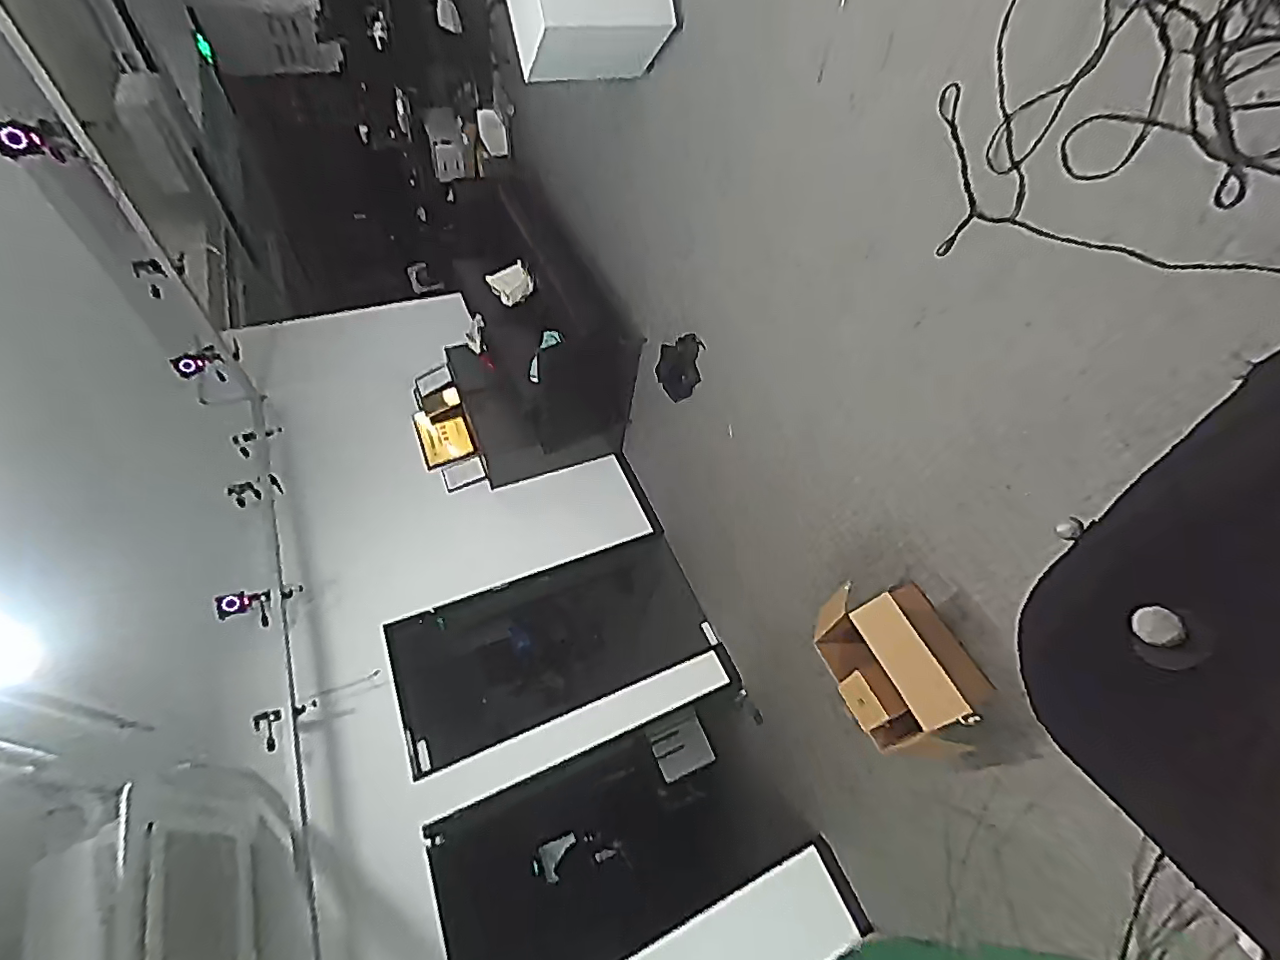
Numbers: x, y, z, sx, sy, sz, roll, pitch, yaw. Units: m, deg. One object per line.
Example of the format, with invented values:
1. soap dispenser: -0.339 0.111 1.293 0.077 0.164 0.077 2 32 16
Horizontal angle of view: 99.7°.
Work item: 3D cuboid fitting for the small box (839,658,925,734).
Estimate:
1. small box: 0.811 0.723 1.812 0.179 0.176 0.168 102 148 -51
